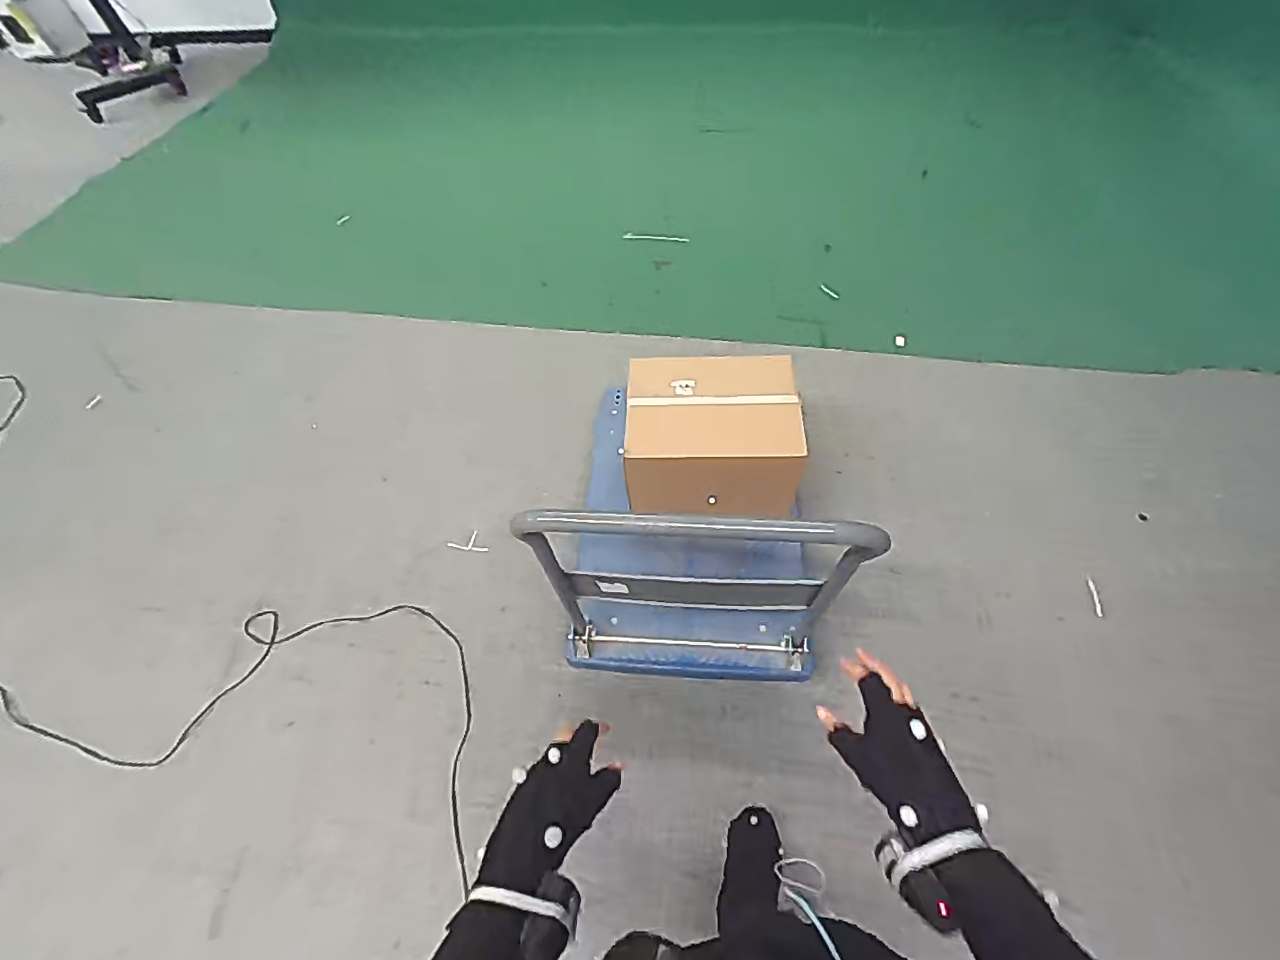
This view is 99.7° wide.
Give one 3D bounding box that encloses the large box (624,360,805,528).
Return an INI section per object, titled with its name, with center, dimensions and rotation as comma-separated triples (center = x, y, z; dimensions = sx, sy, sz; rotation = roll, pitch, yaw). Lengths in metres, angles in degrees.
[large box]
center = 0.182, -0.083, 1.397
dimensions = 0.408, 0.320, 0.320
rotation = -1, 55, 6
